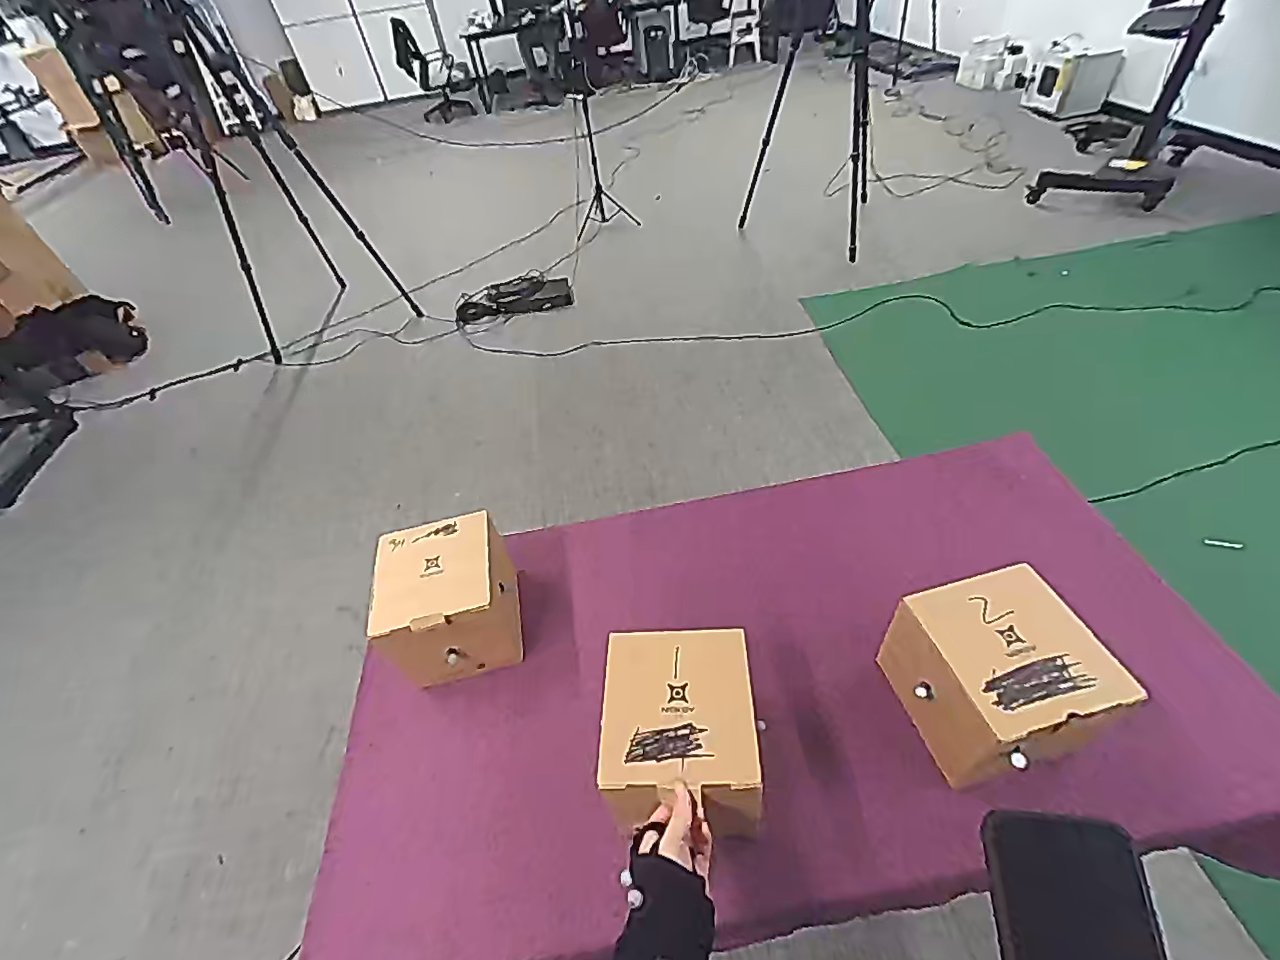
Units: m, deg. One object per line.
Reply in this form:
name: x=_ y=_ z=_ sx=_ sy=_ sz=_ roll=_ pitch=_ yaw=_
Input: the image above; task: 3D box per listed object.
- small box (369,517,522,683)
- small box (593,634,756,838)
small box: x=-0.283 y=0.189 z=0.821 sx=0.168 sy=0.176 sz=0.179 roll=-14 pitch=47 yaw=-4
small box: x=0.048 y=0.306 z=0.645 sx=0.168 sy=0.176 sz=0.179 roll=-3 pitch=42 yaw=7
